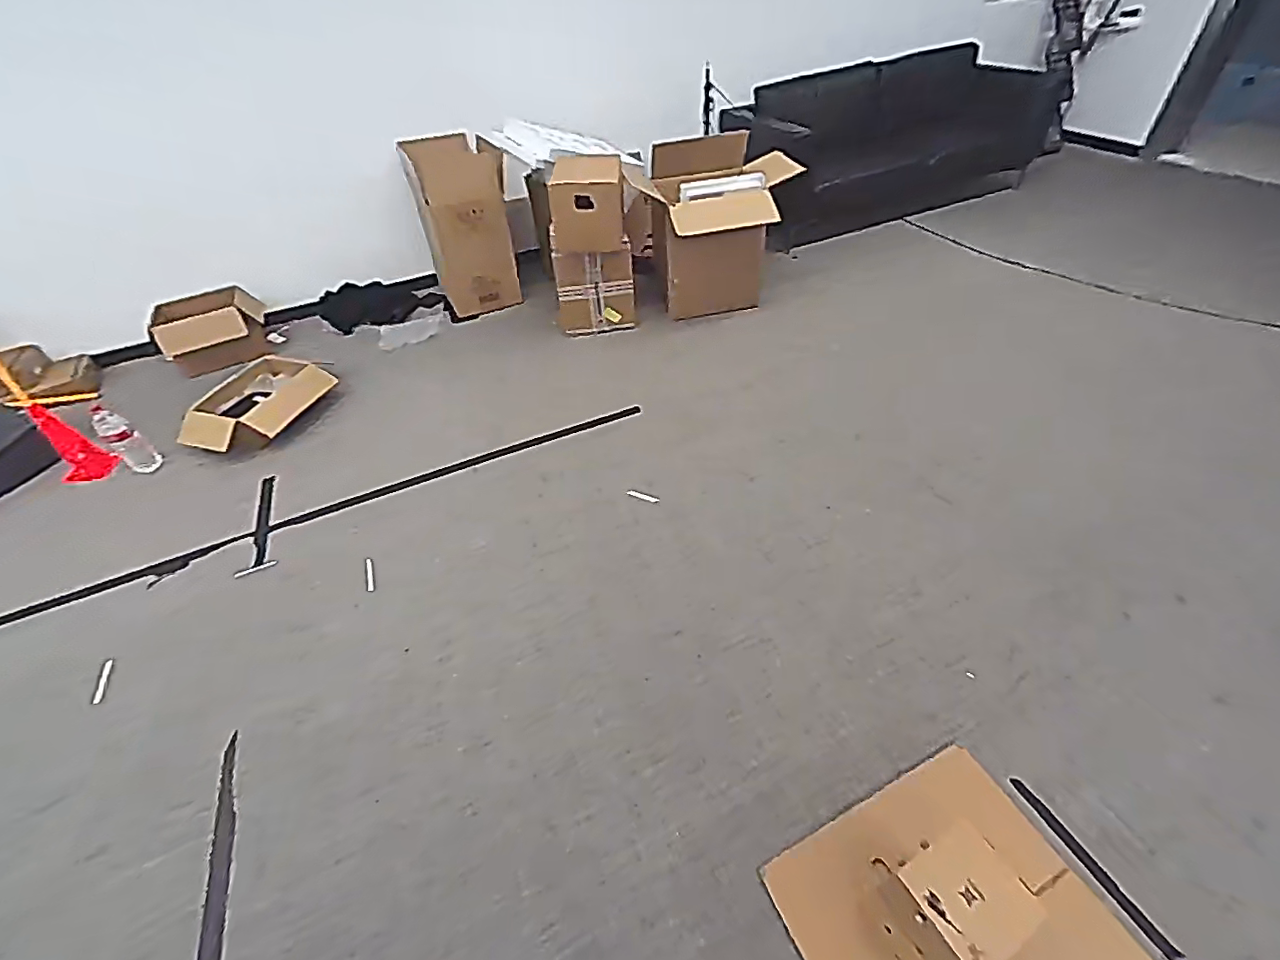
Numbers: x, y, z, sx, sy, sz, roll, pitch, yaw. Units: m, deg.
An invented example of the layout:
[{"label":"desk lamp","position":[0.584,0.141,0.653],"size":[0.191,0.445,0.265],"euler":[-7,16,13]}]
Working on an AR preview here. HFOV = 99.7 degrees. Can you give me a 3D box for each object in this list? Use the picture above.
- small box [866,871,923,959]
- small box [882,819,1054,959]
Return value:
[{"label":"small box","position":[0.572,0.863,1.068],"size":[0.179,0.176,0.168],"euler":[-23,47,-16]},{"label":"small box","position":[0.562,0.745,0.953],"size":[0.179,0.176,0.168],"euler":[-23,47,-18]}]
